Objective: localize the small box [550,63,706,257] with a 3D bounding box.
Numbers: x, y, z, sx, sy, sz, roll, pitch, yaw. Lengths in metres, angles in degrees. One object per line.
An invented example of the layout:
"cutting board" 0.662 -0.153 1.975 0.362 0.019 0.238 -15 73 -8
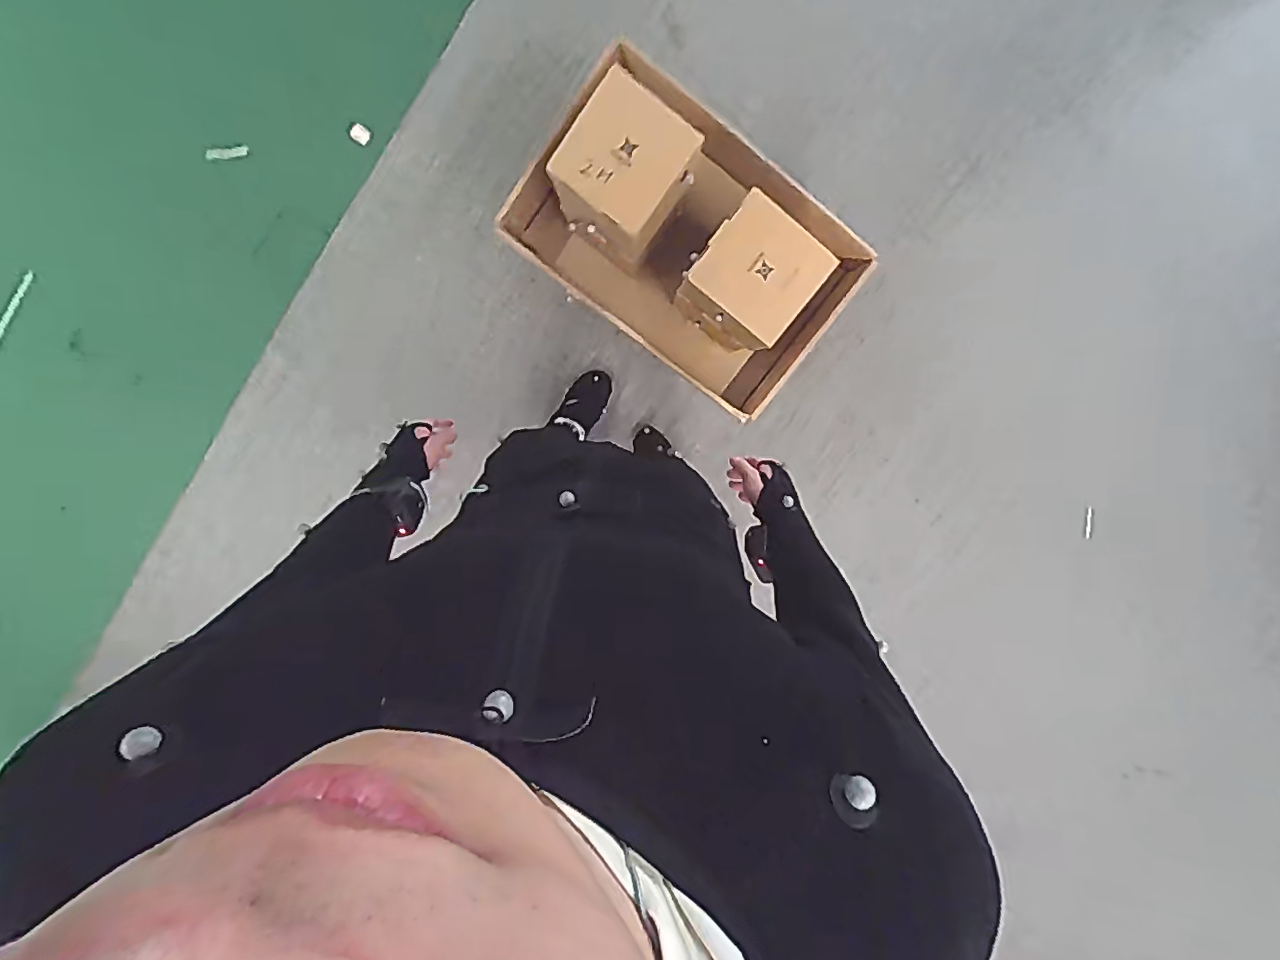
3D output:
"small box" -0.020 -0.492 0.863 0.168 0.176 0.179 37 98 -7

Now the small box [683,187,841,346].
"small box" 0.188 -0.336 0.898 0.179 0.176 0.168 38 99 -8
